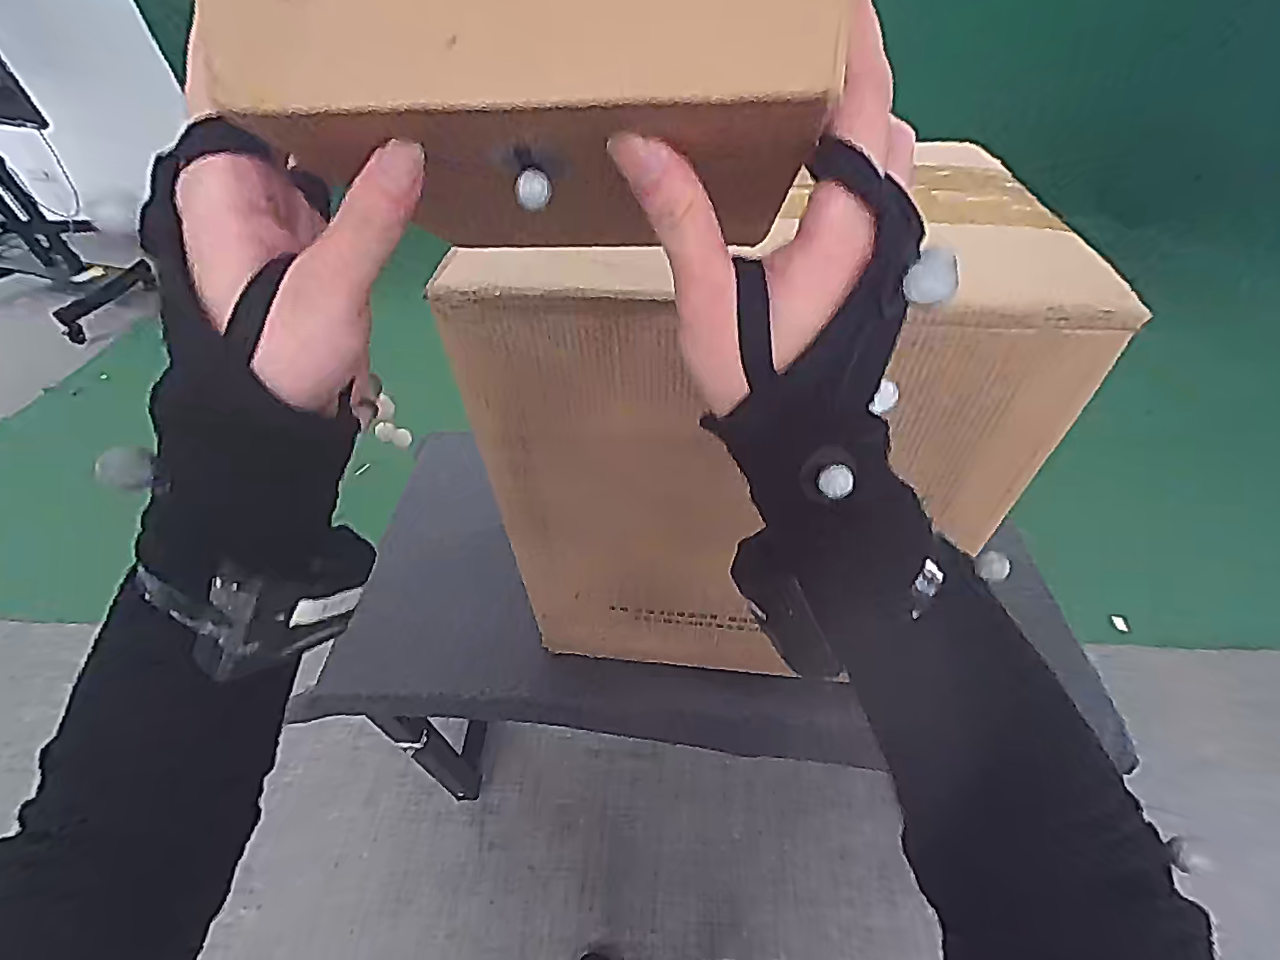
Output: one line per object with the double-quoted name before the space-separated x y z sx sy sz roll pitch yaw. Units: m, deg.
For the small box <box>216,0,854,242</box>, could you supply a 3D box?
"small box" -0.023 -0.198 0.211 0.179 0.168 0.176 2 12 4
